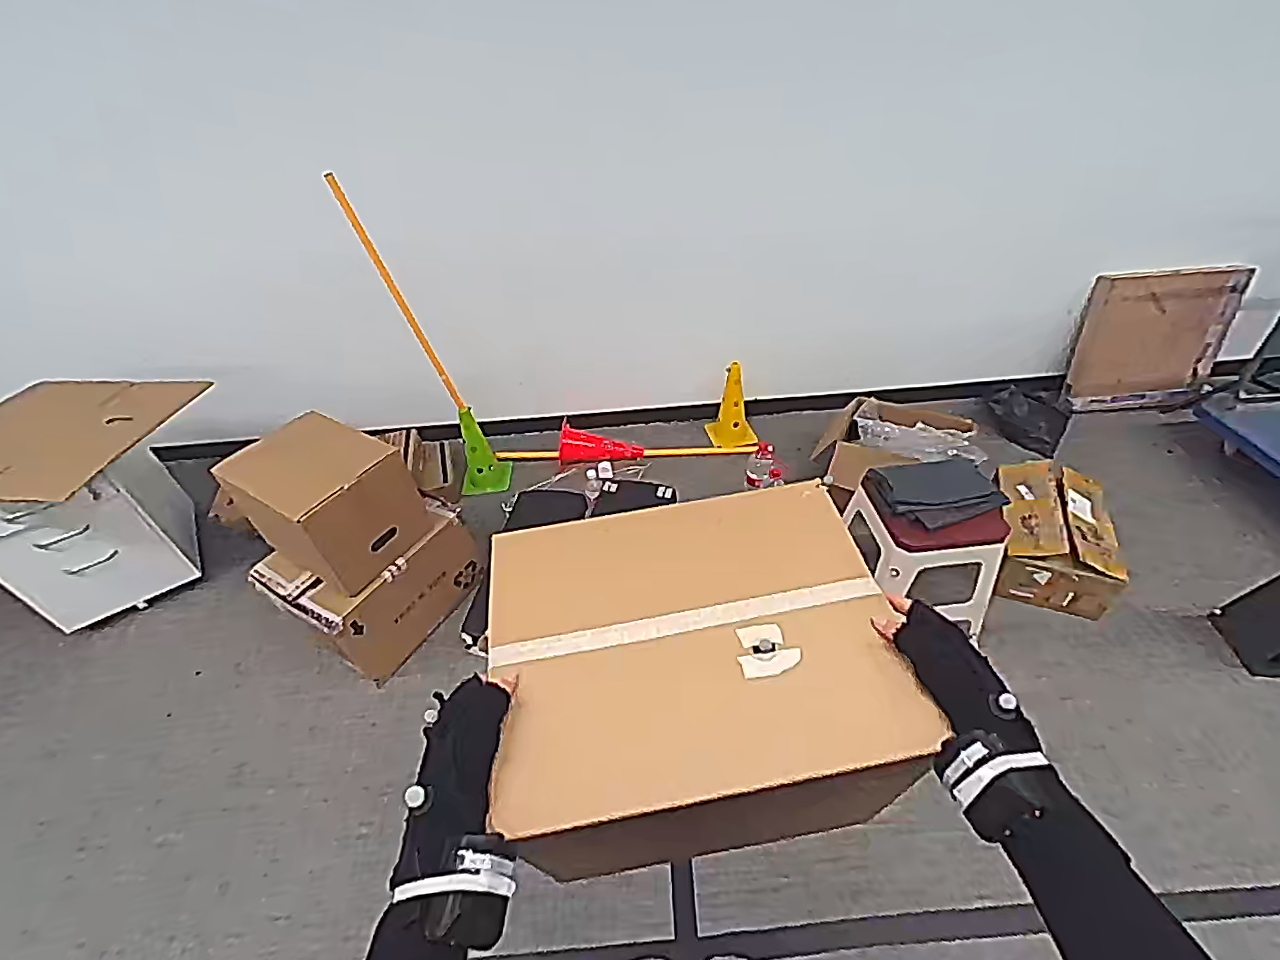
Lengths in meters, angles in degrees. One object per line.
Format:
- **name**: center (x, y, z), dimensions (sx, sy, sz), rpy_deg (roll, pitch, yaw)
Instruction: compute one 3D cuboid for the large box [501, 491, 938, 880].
- **large box**: center (0.060, 0.257, 0.681), dimensions (0.408, 0.320, 0.320), rpy_deg (-10, 49, -4)
